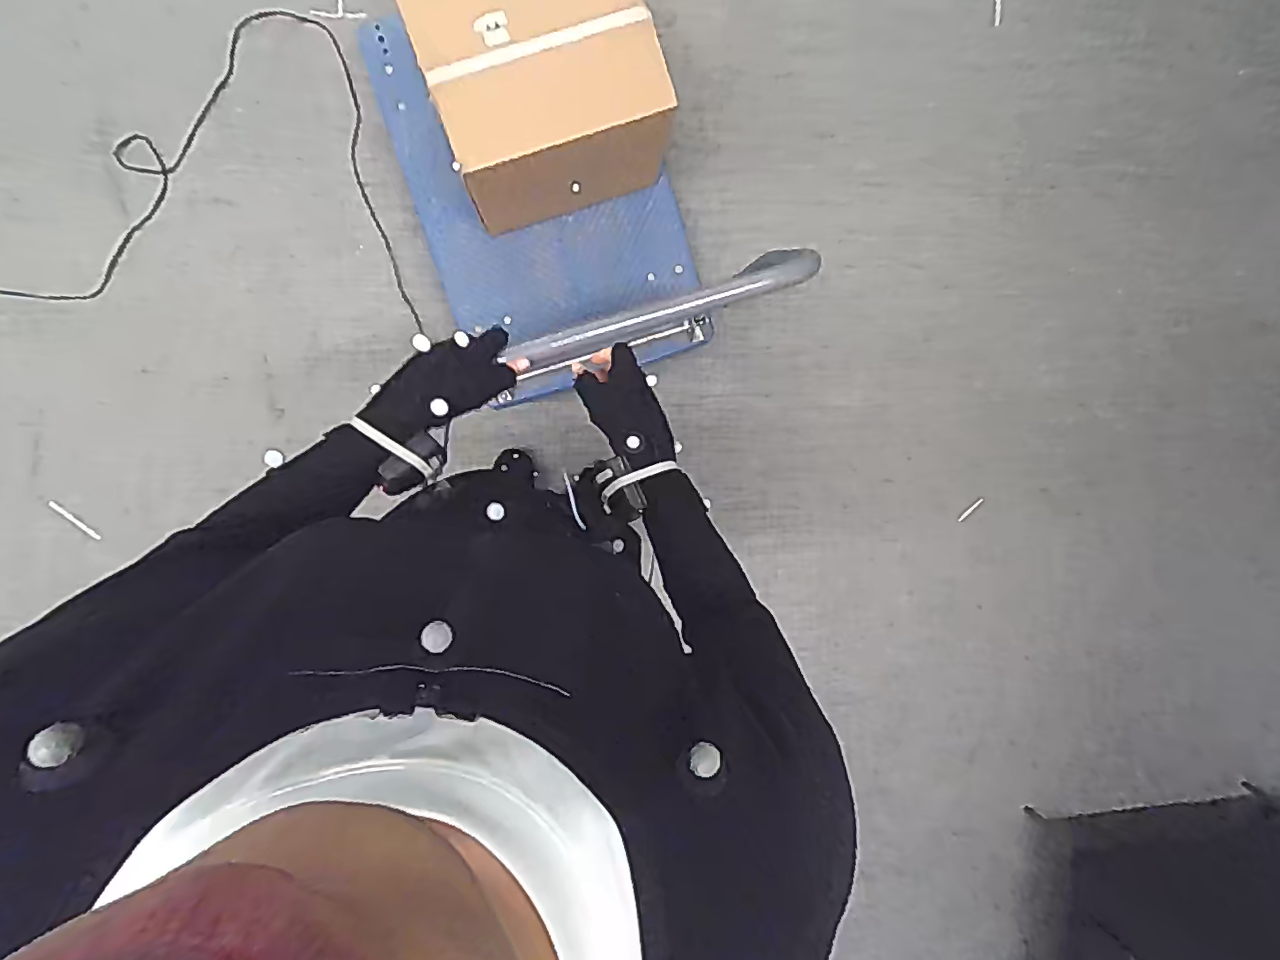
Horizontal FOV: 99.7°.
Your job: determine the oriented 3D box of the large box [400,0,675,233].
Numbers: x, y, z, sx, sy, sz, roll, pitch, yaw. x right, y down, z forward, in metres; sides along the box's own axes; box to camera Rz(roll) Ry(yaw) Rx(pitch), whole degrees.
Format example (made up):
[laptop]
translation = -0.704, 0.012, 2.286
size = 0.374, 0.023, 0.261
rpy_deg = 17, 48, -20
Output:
[large box]
translation = -0.183, -0.752, 1.081
size = 0.408, 0.320, 0.320
rpy_deg = -20, 96, -3
